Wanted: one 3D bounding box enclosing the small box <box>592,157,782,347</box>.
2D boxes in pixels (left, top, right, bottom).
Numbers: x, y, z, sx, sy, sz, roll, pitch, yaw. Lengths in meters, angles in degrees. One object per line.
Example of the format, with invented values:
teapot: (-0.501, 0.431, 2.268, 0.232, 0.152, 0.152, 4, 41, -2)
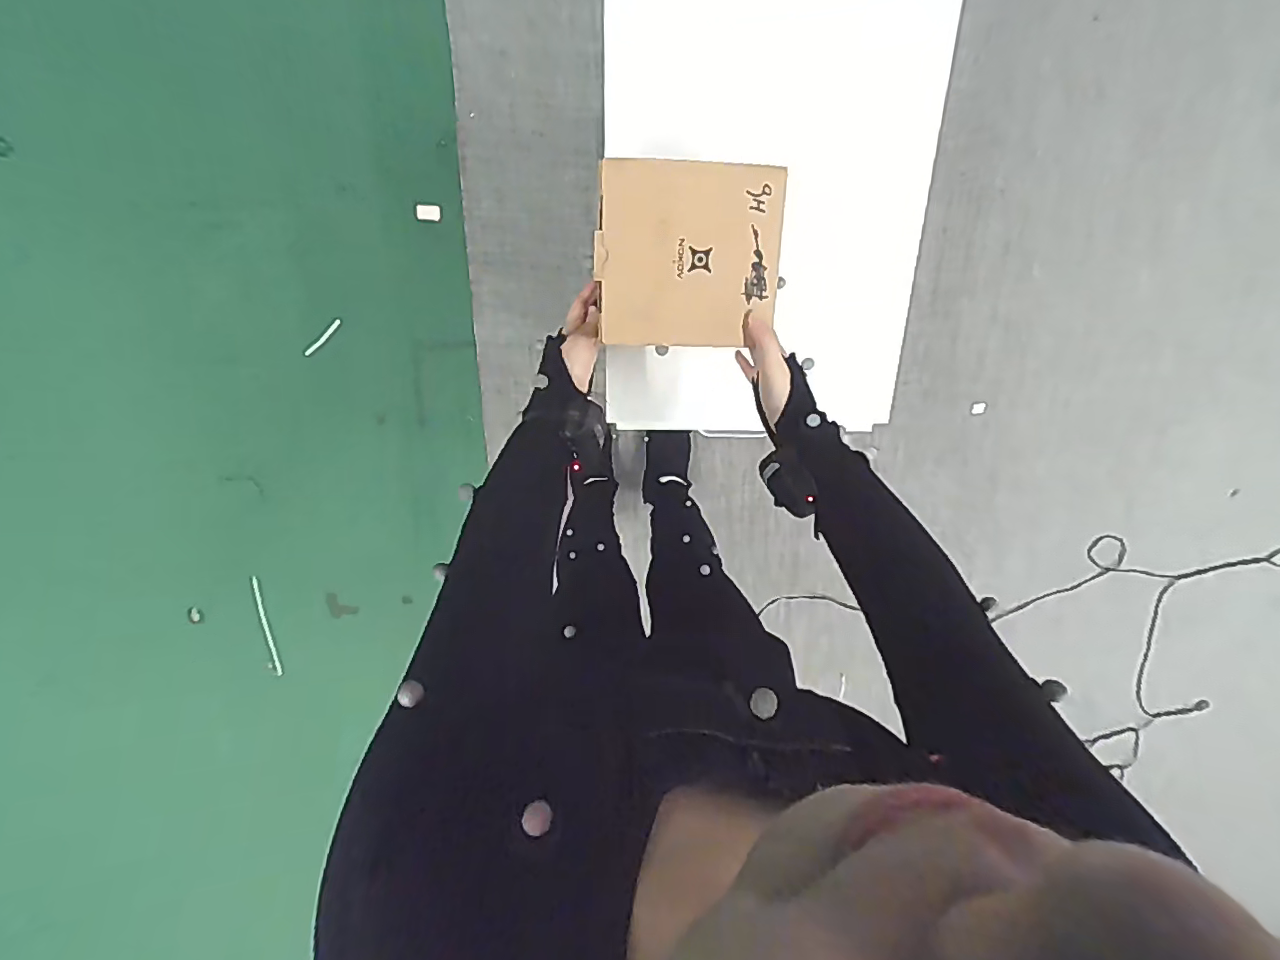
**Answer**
small box: (0.037, -0.234, 0.593, 0.179, 0.176, 0.168, 0, 106, -5)
